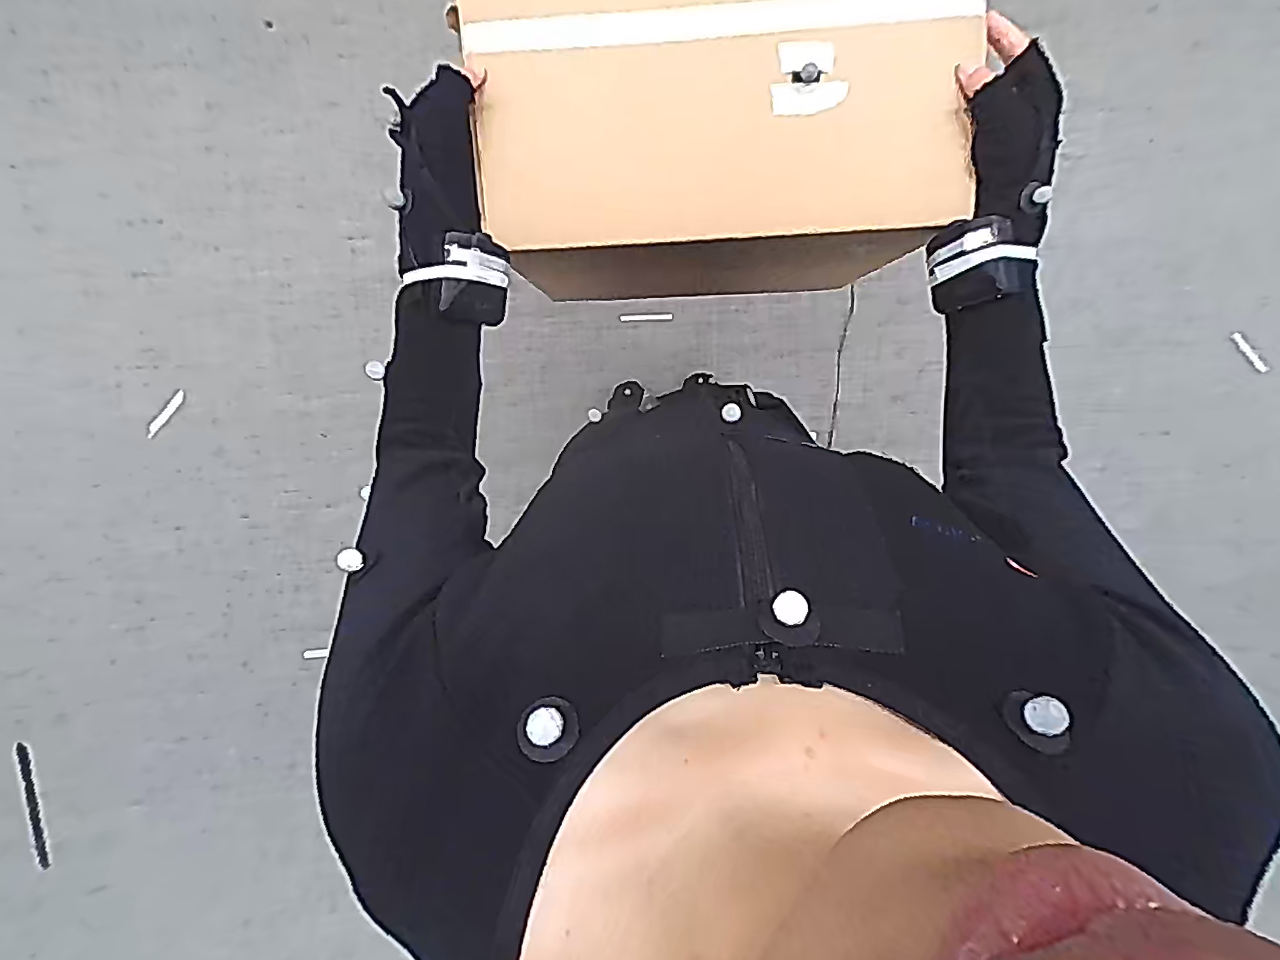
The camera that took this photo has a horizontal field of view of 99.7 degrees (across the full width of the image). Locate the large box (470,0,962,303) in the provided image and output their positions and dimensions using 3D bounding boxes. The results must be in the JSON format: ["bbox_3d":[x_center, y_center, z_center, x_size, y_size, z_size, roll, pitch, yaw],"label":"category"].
[{"bbox_3d":[0.062,-0.387,0.587,0.408,0.320,0.320,-3,101,1],"label":"large box"}]
